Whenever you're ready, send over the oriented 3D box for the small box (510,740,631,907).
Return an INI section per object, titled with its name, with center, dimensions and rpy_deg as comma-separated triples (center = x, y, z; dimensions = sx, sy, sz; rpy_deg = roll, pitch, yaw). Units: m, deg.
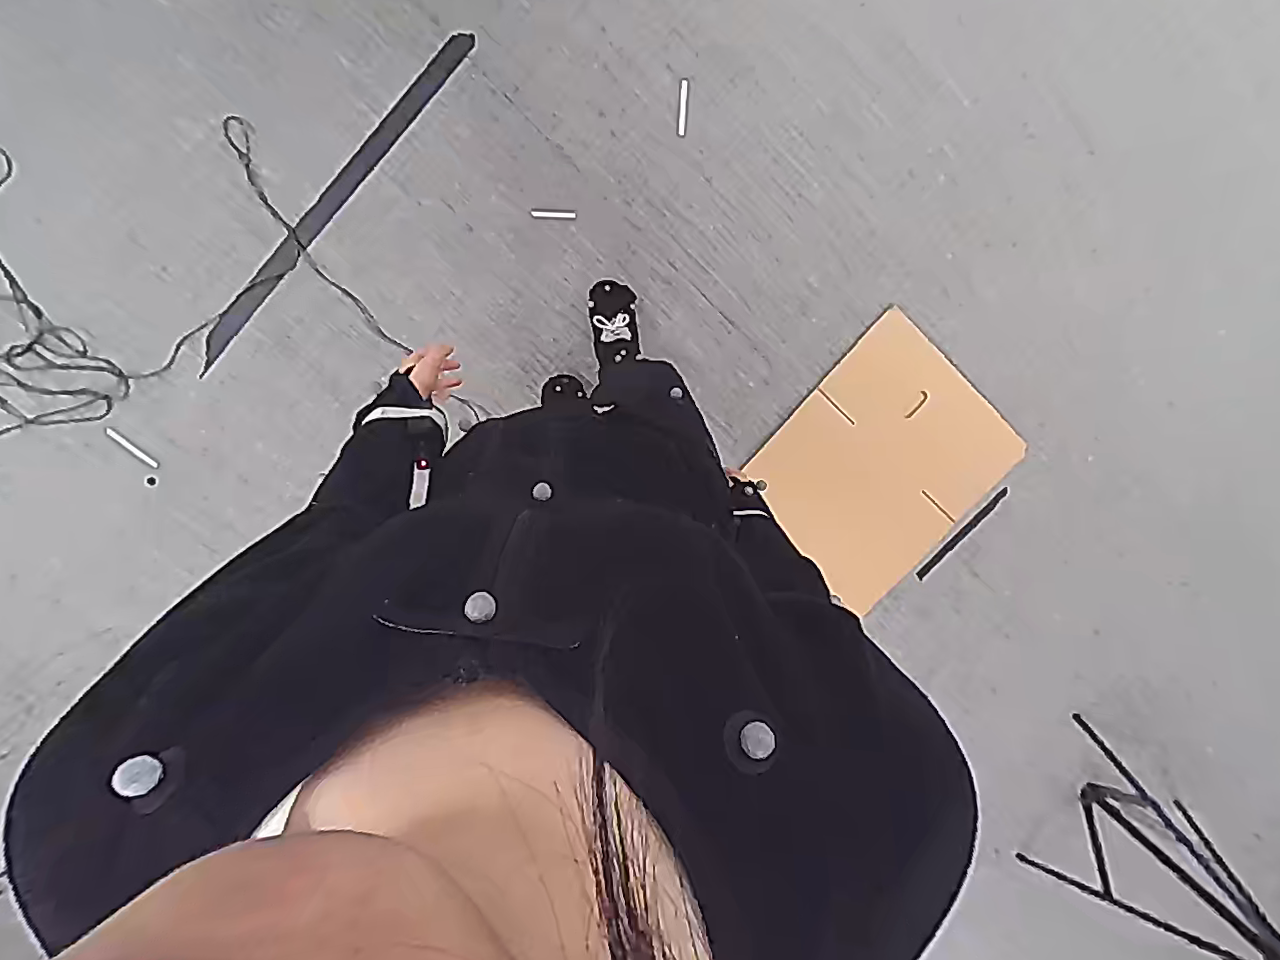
[small box]
center = -0.109, 0.550, 0.884
dimensions = 0.179, 0.176, 0.168
rpy_deg = 2, 103, -5
